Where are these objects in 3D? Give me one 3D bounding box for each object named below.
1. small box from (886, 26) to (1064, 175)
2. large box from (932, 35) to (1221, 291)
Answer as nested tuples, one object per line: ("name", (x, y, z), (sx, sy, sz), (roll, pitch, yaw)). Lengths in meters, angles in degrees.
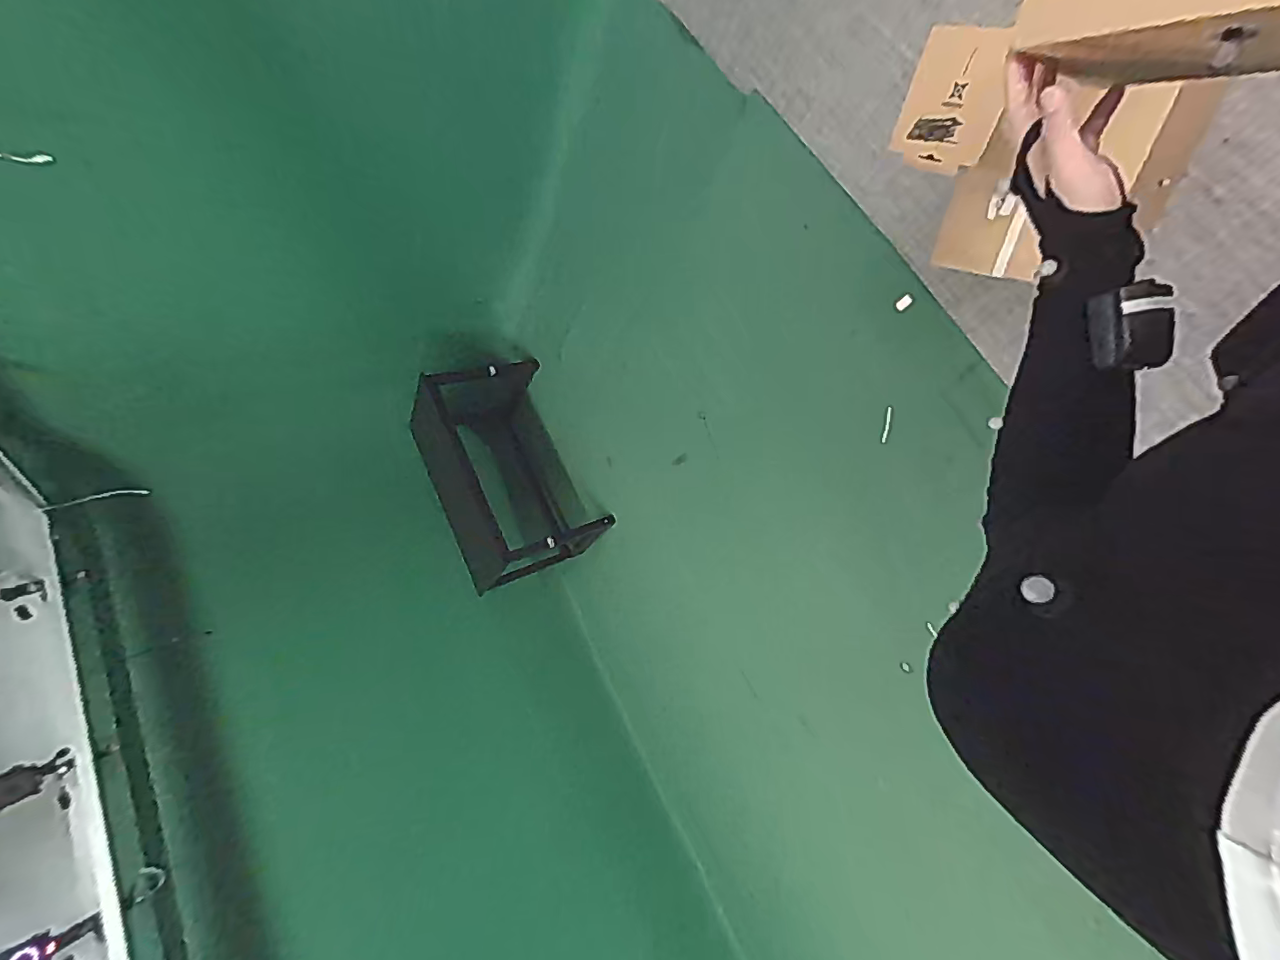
("small box", (0.557, -0.625, 0.902), (0.168, 0.176, 0.179), (41, 134, 36))
("large box", (0.898, -0.644, 1.143), (0.320, 0.320, 0.408), (36, 132, 41))
